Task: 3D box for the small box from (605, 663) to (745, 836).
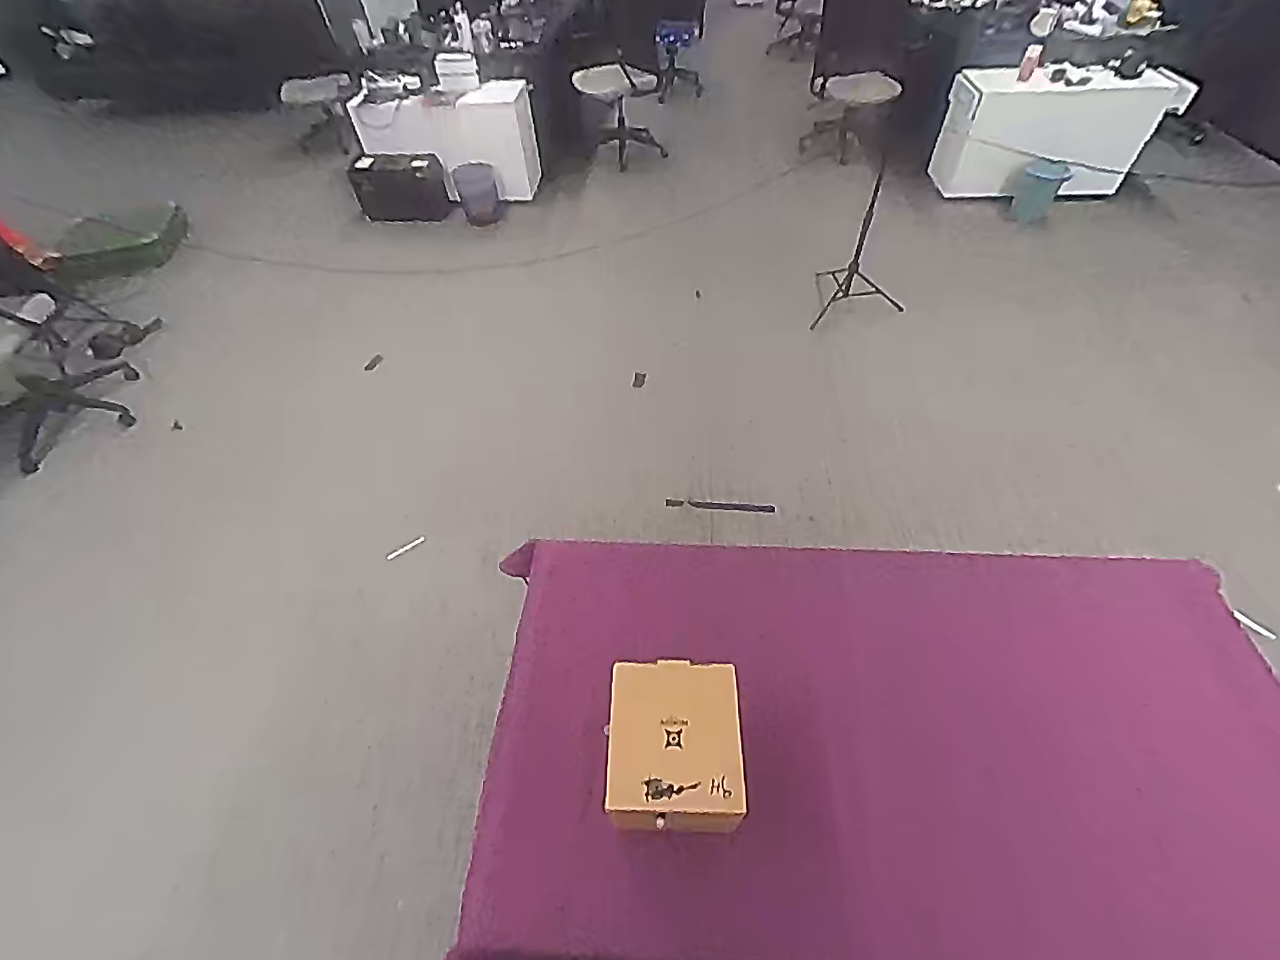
[{"bbox_3d":[0.047,0.368,0.739,0.168,0.176,0.179,0,50,3],"label":"small box"}]
